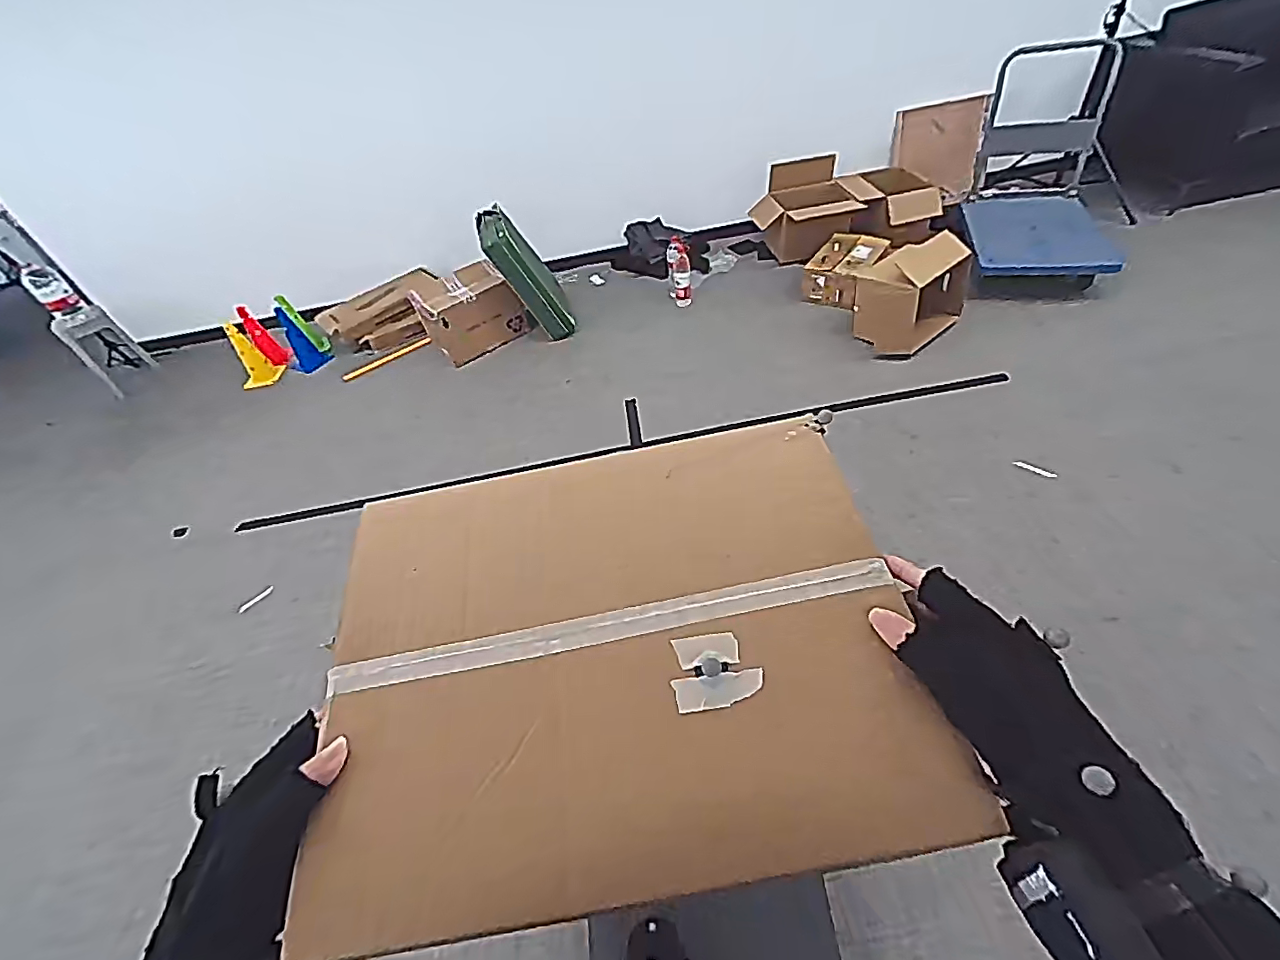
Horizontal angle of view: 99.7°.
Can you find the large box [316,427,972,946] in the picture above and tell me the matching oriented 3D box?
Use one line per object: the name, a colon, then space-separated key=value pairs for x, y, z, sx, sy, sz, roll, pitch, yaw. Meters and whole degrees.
large box: x=-0.004 y=0.198 z=0.522 sx=0.408 sy=0.320 sz=0.320 roll=-11 pitch=54 yaw=0
